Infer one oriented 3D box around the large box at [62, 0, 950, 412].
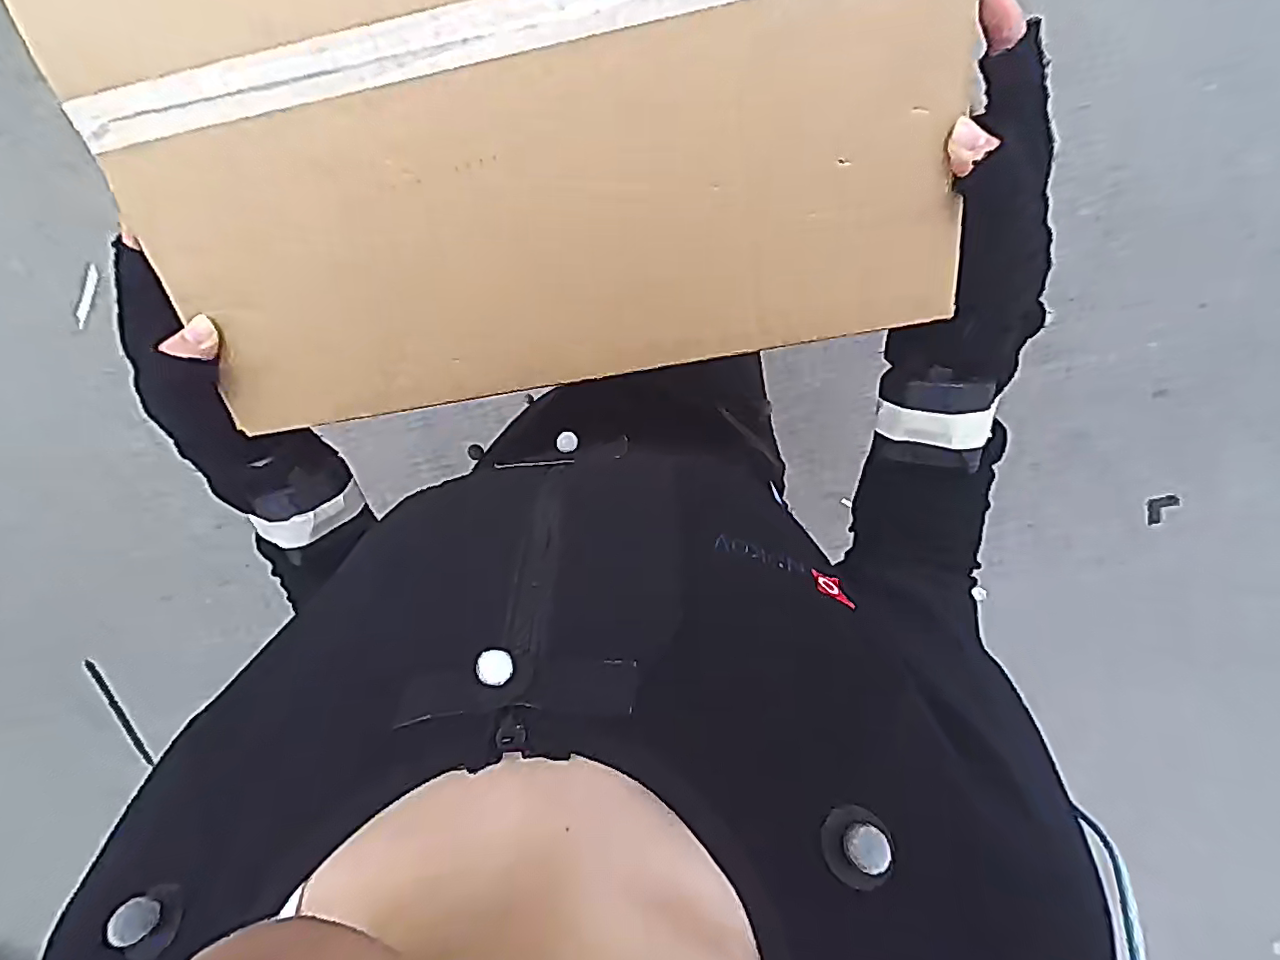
[{"bbox_3d":[-0.060,-0.270,0.382,0.408,0.320,0.320,-9,116,5],"label":"large box"}]
